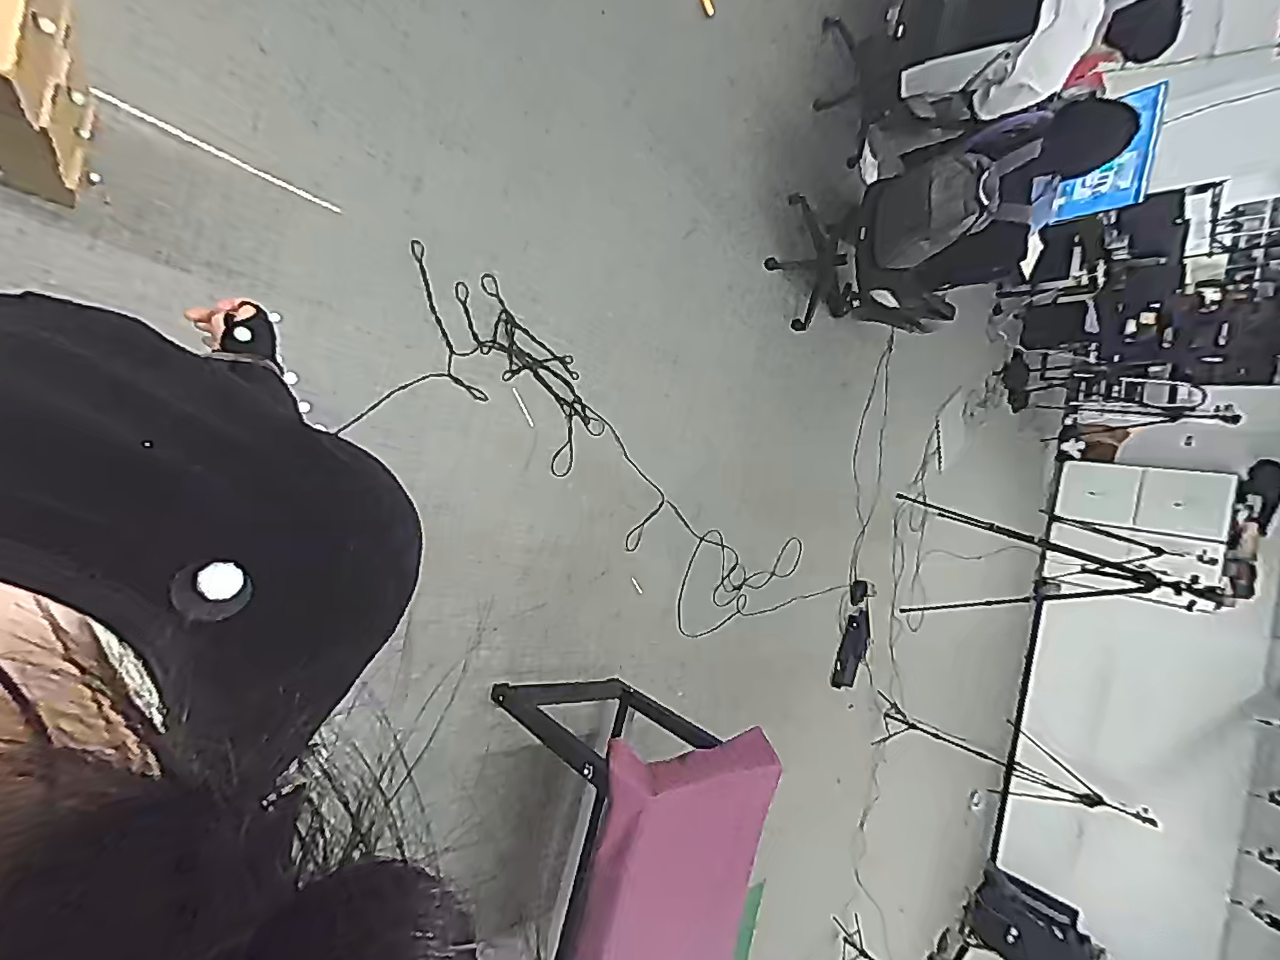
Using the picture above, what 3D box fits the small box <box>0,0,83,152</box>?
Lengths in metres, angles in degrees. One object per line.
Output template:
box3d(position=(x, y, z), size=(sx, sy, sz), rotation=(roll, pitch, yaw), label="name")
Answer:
box3d(position=(-0.833, -0.543, 0.672), size=(0.179, 0.176, 0.168), rotation=(12, 89, -44), label="small box")

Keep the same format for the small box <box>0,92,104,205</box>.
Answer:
box3d(position=(-1.047, -0.597, 0.913), size=(0.179, 0.176, 0.168), rotation=(14, 87, -44), label="small box")

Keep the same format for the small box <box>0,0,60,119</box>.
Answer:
box3d(position=(-0.728, -0.520, 0.549), size=(0.168, 0.176, 0.179), rotation=(12, 90, -44), label="small box")

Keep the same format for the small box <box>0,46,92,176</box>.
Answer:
box3d(position=(-0.943, -0.579, 0.788), size=(0.179, 0.176, 0.168), rotation=(15, 88, -44), label="small box")
